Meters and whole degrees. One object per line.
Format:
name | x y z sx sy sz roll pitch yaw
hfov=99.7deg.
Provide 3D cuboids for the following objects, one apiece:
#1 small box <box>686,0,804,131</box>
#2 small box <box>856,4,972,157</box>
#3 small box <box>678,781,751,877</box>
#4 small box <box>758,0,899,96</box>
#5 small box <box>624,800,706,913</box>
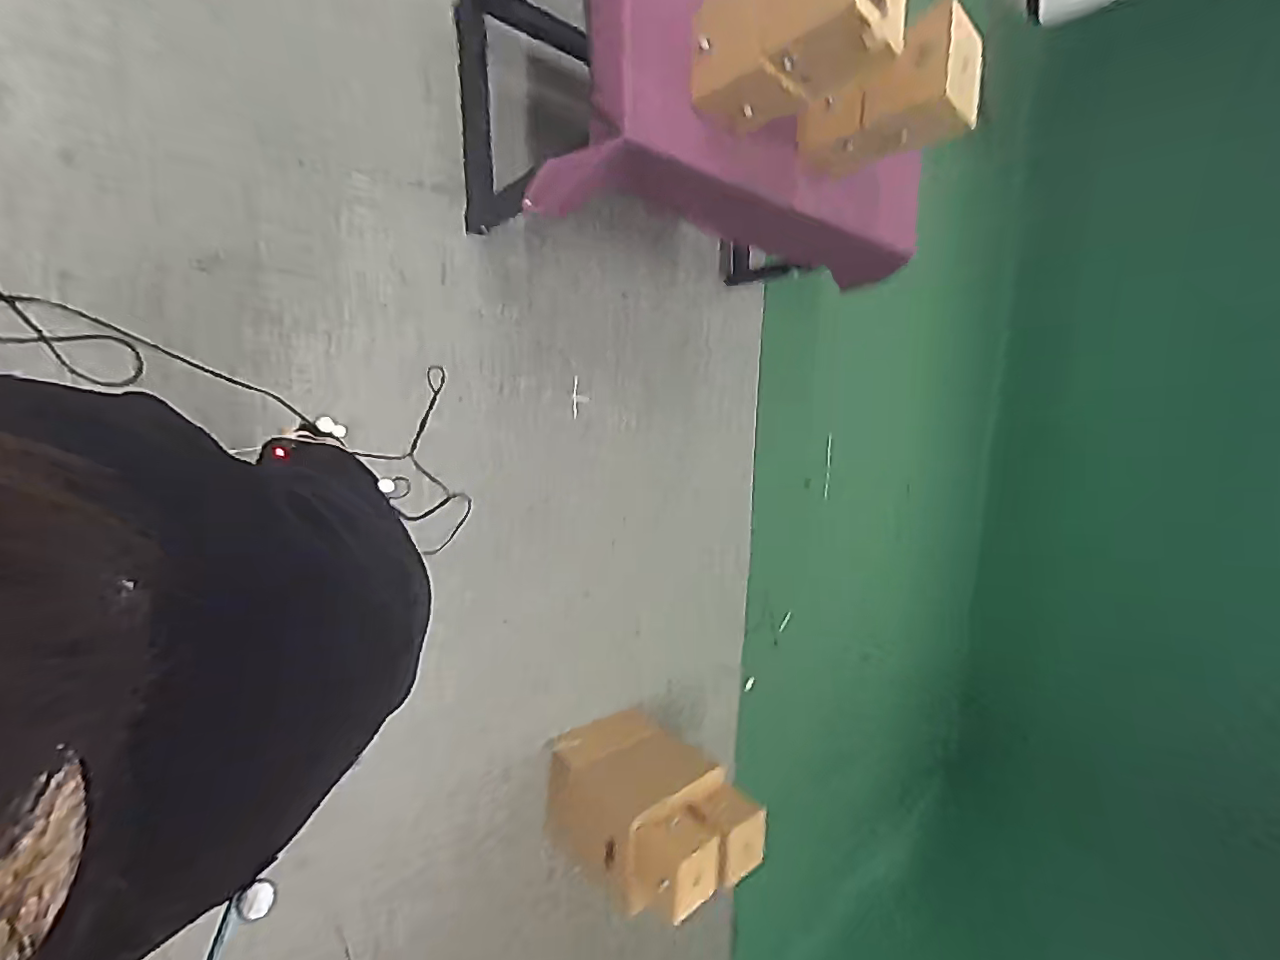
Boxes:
small box | 0.202 -0.807 1.031 0.168 0.176 0.179 -5 100 -43
small box | 0.576 -0.827 1.143 0.168 0.176 0.179 -1 97 -42
small box | 0.232 1.092 1.717 0.168 0.176 0.179 -2 97 -40
small box | 0.315 -0.797 0.911 0.168 0.176 0.179 -3 97 -42
small box | 0.069 1.078 1.565 0.168 0.176 0.179 -2 98 -43
